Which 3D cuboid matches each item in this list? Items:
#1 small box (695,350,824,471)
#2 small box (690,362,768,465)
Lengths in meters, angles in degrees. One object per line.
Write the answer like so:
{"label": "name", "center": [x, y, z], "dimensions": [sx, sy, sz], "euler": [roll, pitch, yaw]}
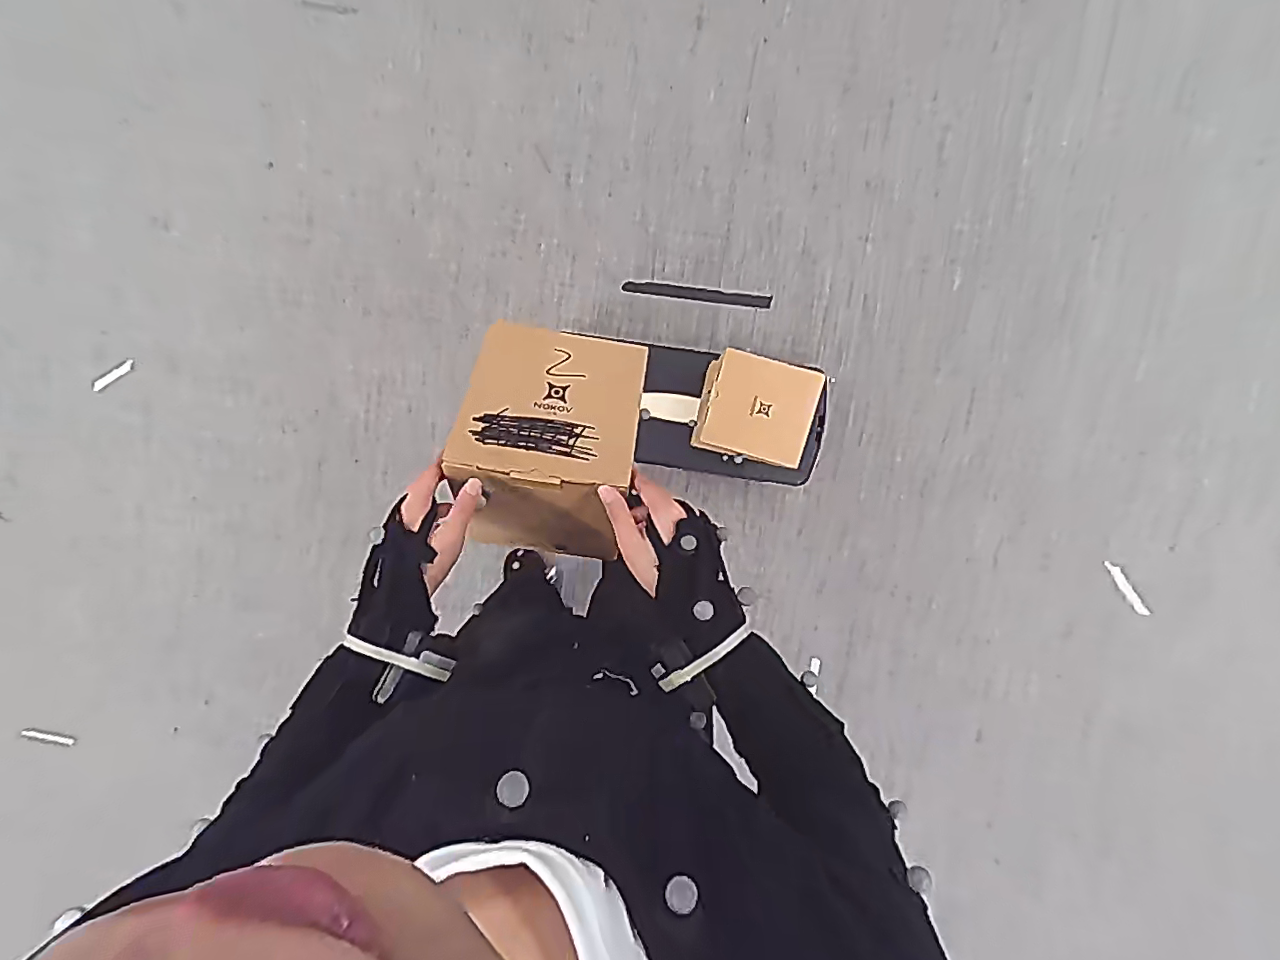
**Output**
{"label": "small box", "center": [0.206, -0.124, 0.986], "dimensions": [0.179, 0.176, 0.168], "euler": [16, 95, 3]}
{"label": "small box", "center": [0.204, -0.136, 1.148], "dimensions": [0.168, 0.176, 0.179], "euler": [13, 94, 2]}
